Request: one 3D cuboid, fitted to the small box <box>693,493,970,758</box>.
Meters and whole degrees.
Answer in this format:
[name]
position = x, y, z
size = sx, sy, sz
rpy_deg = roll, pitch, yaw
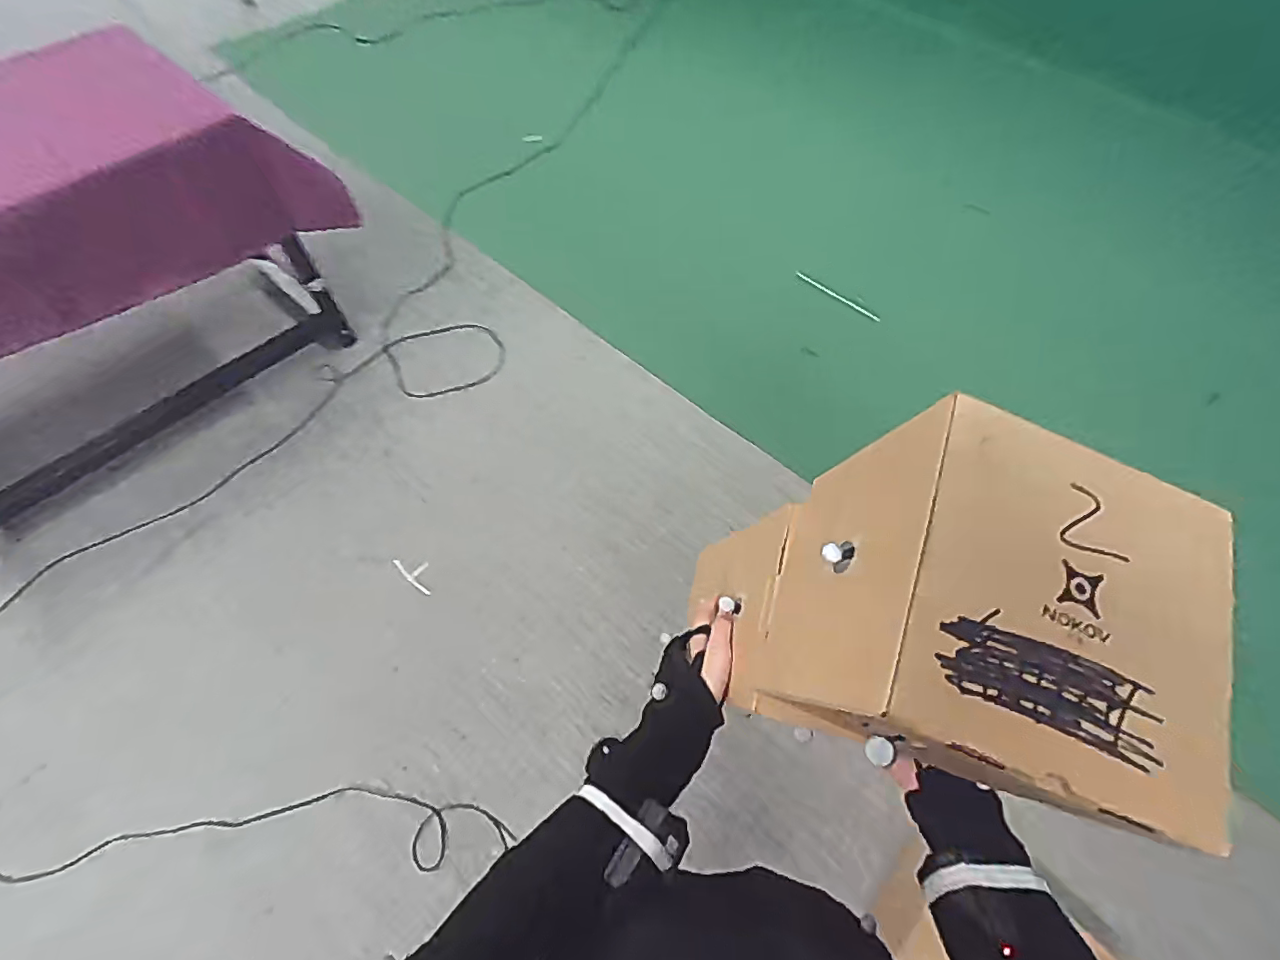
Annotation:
[small box]
position = 0.159, 0.130, 0.493
size = 0.179, 0.176, 0.168
rpy_deg = 16, 73, -2
